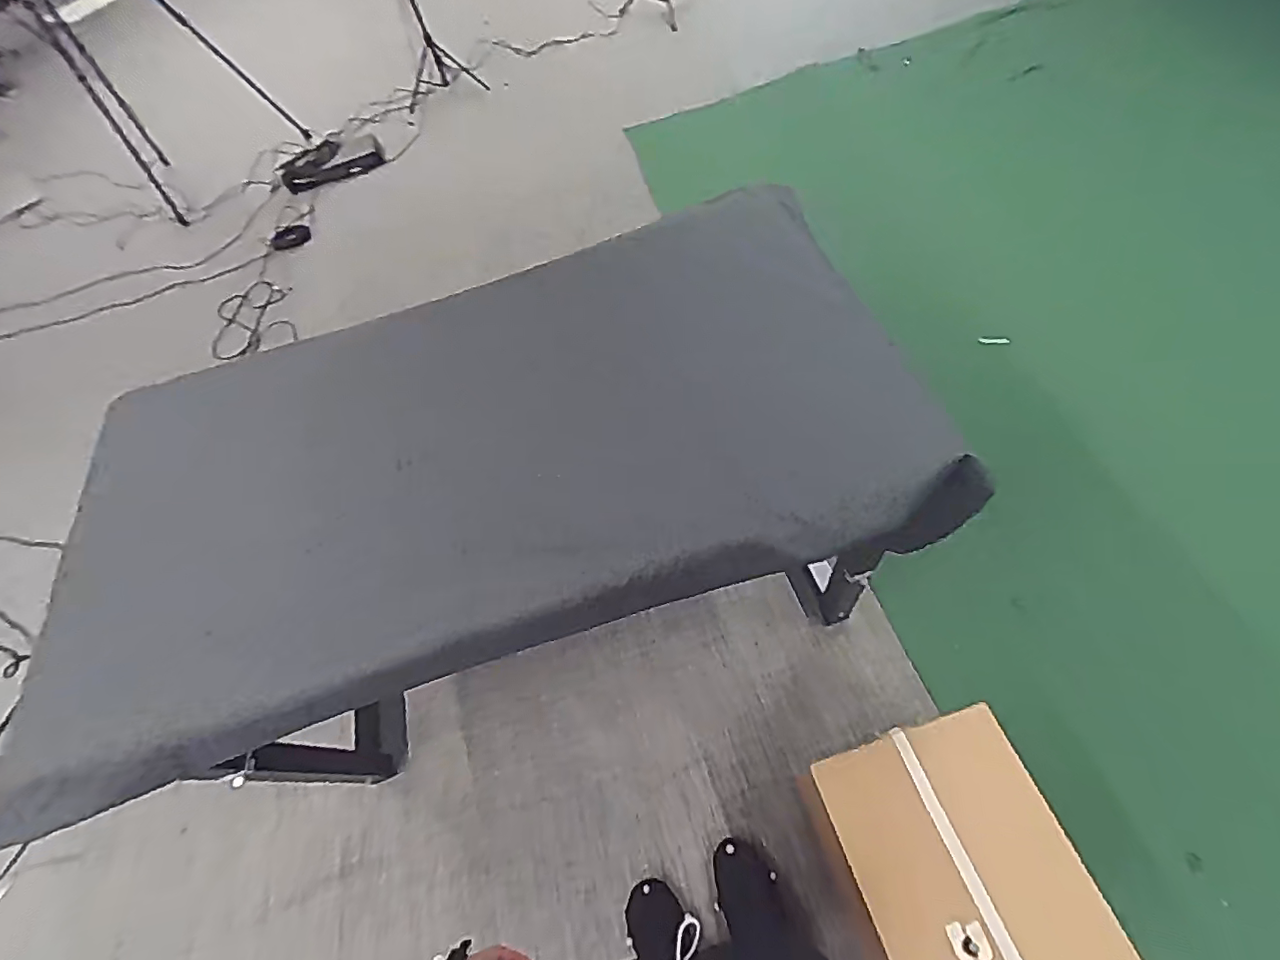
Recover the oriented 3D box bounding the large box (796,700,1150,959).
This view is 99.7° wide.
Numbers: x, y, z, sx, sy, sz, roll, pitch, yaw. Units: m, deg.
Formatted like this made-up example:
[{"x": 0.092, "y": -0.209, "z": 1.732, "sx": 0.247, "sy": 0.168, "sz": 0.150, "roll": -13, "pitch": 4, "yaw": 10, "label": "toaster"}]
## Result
[{"x": 0.505, "y": 0.642, "z": 0.910, "sx": 0.320, "sy": 0.320, "sz": 0.408, "roll": -20, "pitch": 59, "yaw": -1, "label": "large box"}]
